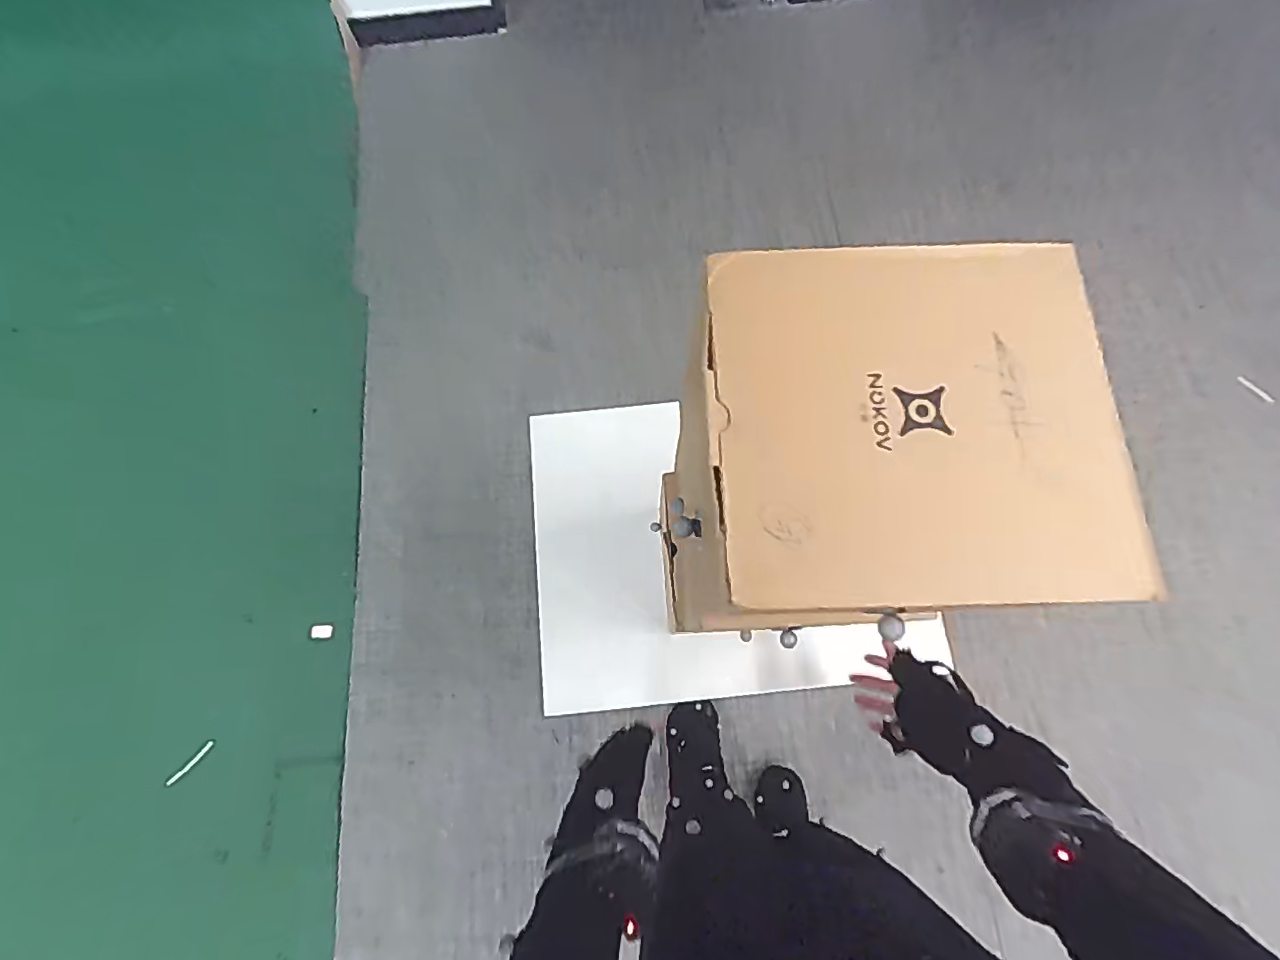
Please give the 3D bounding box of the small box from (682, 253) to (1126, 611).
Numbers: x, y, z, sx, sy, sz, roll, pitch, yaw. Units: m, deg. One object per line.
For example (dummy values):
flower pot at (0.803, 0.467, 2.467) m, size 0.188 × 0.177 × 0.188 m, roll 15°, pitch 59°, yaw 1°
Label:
small box at (0.116, -0.009, 0.324) m, size 0.179 × 0.176 × 0.168 m, roll -2°, pitch 75°, yaw 0°

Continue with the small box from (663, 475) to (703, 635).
small box at (0.119, 0.091, 0.634) m, size 0.179 × 0.176 × 0.168 m, roll -4°, pitch 73°, yaw 0°

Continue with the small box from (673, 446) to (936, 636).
small box at (0.122, 0.042, 0.481) m, size 0.168 × 0.176 × 0.179 m, roll -5°, pitch 74°, yaw -1°
